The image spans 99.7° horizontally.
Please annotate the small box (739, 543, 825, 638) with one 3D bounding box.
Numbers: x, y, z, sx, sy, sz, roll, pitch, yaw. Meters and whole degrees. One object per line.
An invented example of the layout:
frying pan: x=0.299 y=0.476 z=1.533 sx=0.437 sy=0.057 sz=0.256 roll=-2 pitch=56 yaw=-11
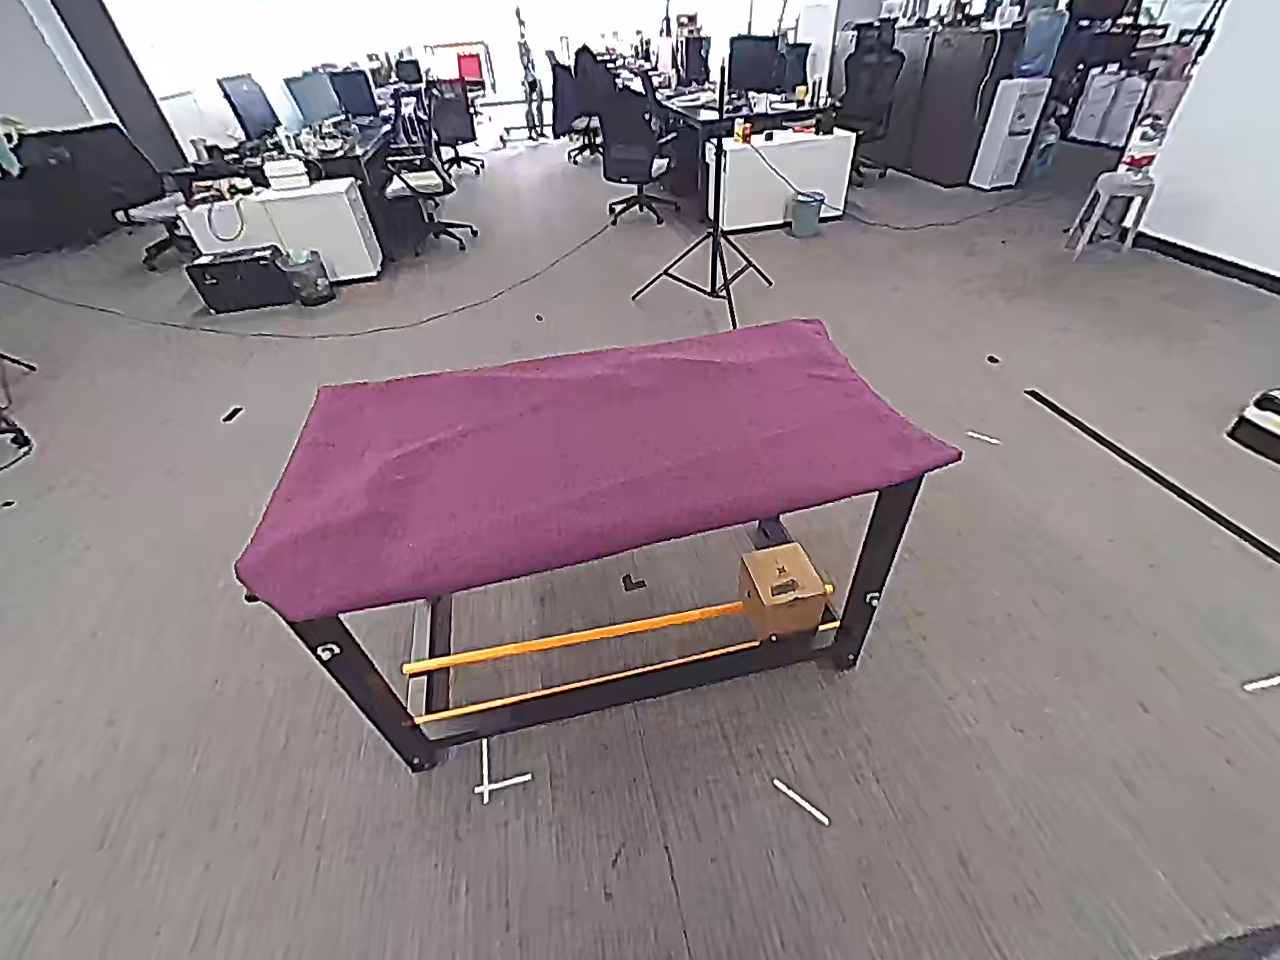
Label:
small box: x=0.367 y=0.298 z=1.428 sx=0.168 sy=0.176 sz=0.179 roll=-11 pitch=41 yaw=-6
